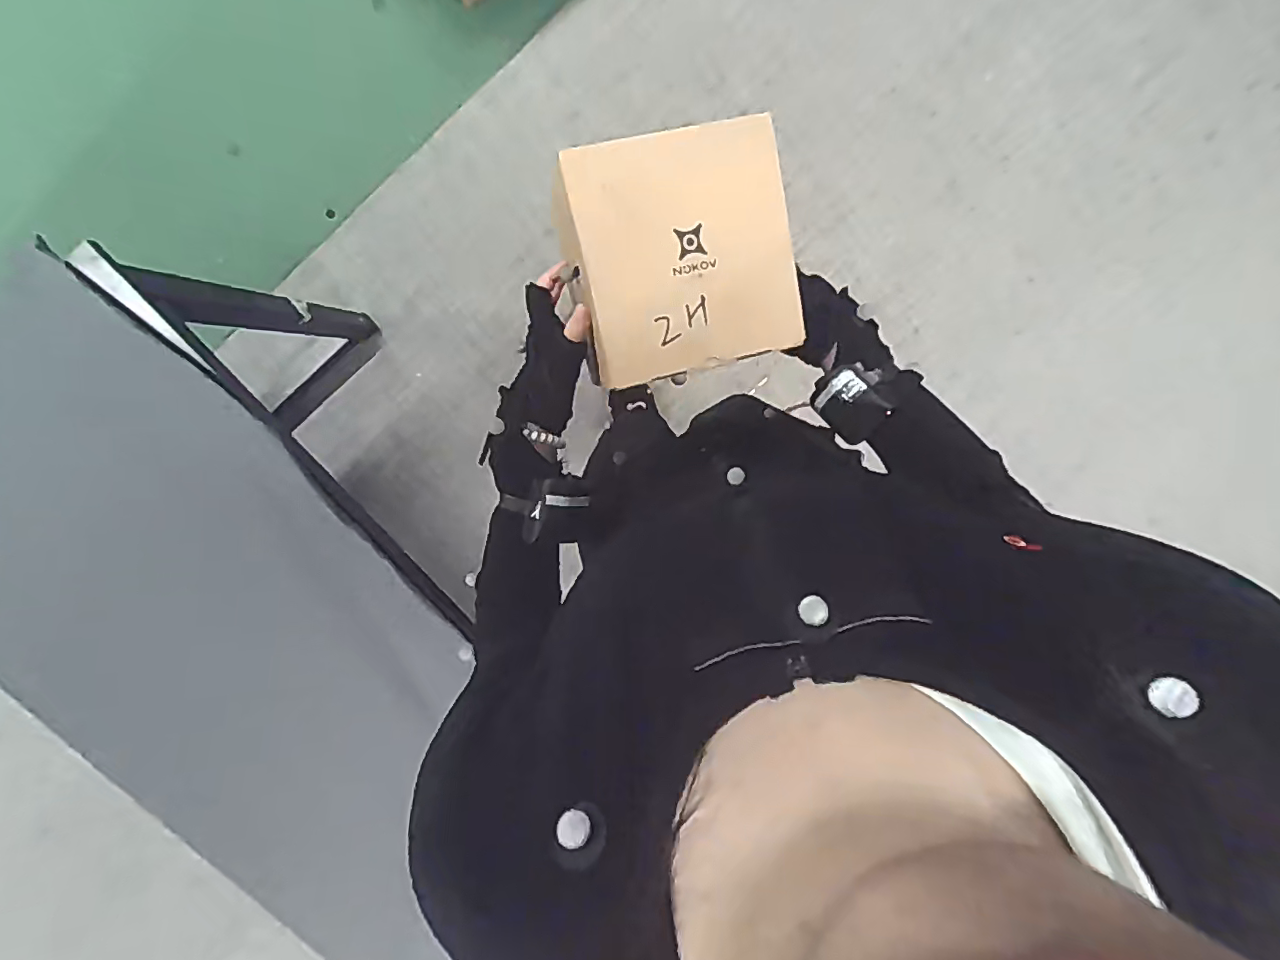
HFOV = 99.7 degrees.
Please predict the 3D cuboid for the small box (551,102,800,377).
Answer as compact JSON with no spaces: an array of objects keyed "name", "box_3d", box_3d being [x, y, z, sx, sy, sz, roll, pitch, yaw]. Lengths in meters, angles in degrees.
[{"name":"small box","box_3d":[0.019,-0.194,0.485,0.168,0.176,0.179,-15,104,-7]}]
